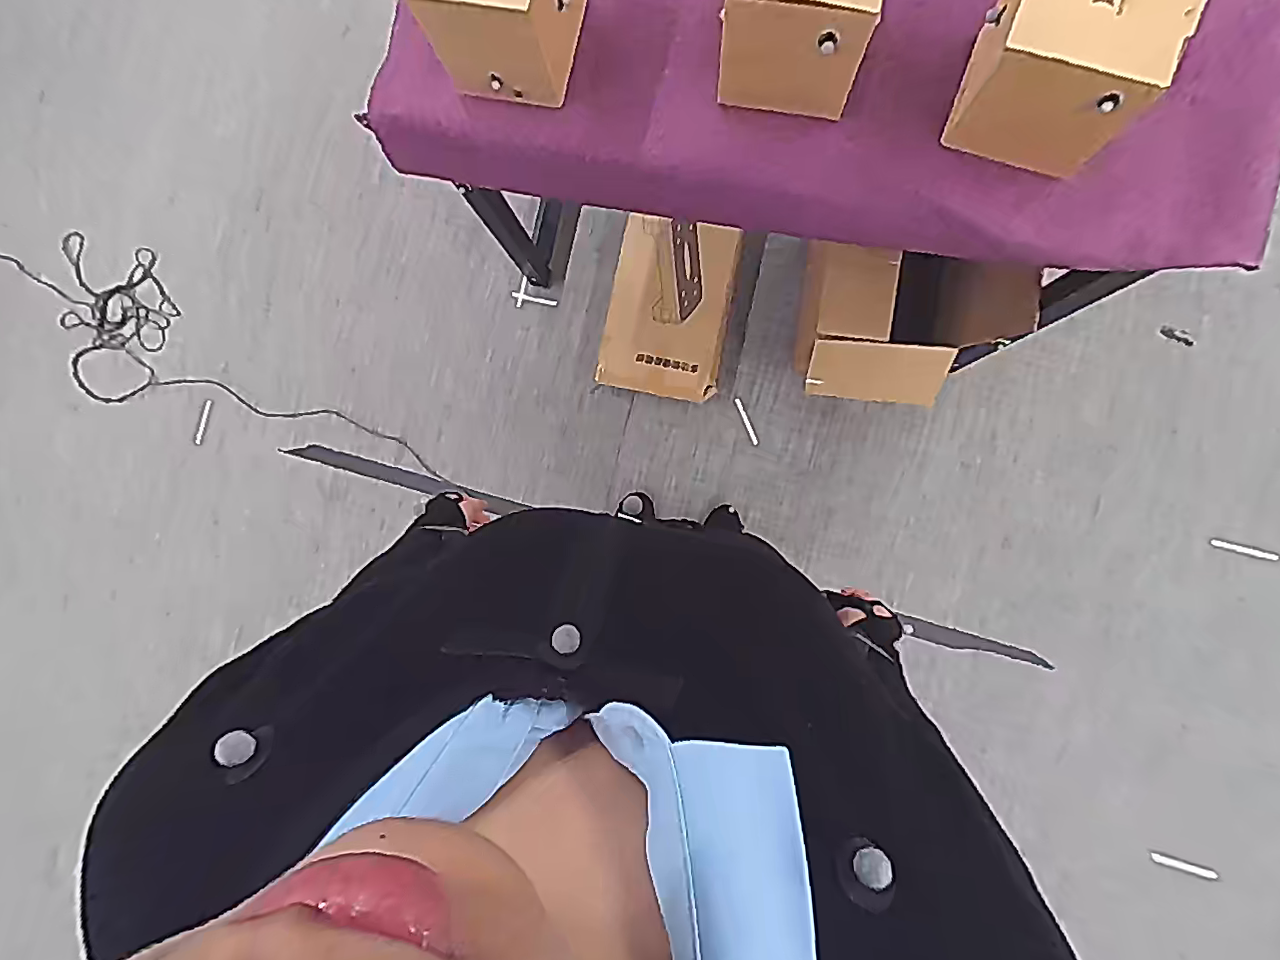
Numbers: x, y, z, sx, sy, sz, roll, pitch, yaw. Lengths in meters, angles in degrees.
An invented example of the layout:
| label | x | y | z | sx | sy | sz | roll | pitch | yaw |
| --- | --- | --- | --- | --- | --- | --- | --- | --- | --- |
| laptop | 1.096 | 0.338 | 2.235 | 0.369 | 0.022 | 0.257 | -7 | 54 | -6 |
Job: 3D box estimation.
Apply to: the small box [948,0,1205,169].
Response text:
| label | x | y | z | sx | sy | sz | roll | pitch | yaw |
| --- | --- | --- | --- | --- | --- | --- | --- | --- | --- |
| small box | 0.512 | -0.514 | 0.652 | 0.179 | 0.176 | 0.168 | 19 | 90 | 6 |

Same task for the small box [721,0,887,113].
| label | x | y | z | sx | sy | sz | roll | pitch | yaw |
| --- | --- | --- | --- | --- | --- | --- | --- | --- | --- |
| small box | 0.208 | -0.606 | 0.684 | 0.179 | 0.176 | 0.168 | 12 | 87 | 6 |
